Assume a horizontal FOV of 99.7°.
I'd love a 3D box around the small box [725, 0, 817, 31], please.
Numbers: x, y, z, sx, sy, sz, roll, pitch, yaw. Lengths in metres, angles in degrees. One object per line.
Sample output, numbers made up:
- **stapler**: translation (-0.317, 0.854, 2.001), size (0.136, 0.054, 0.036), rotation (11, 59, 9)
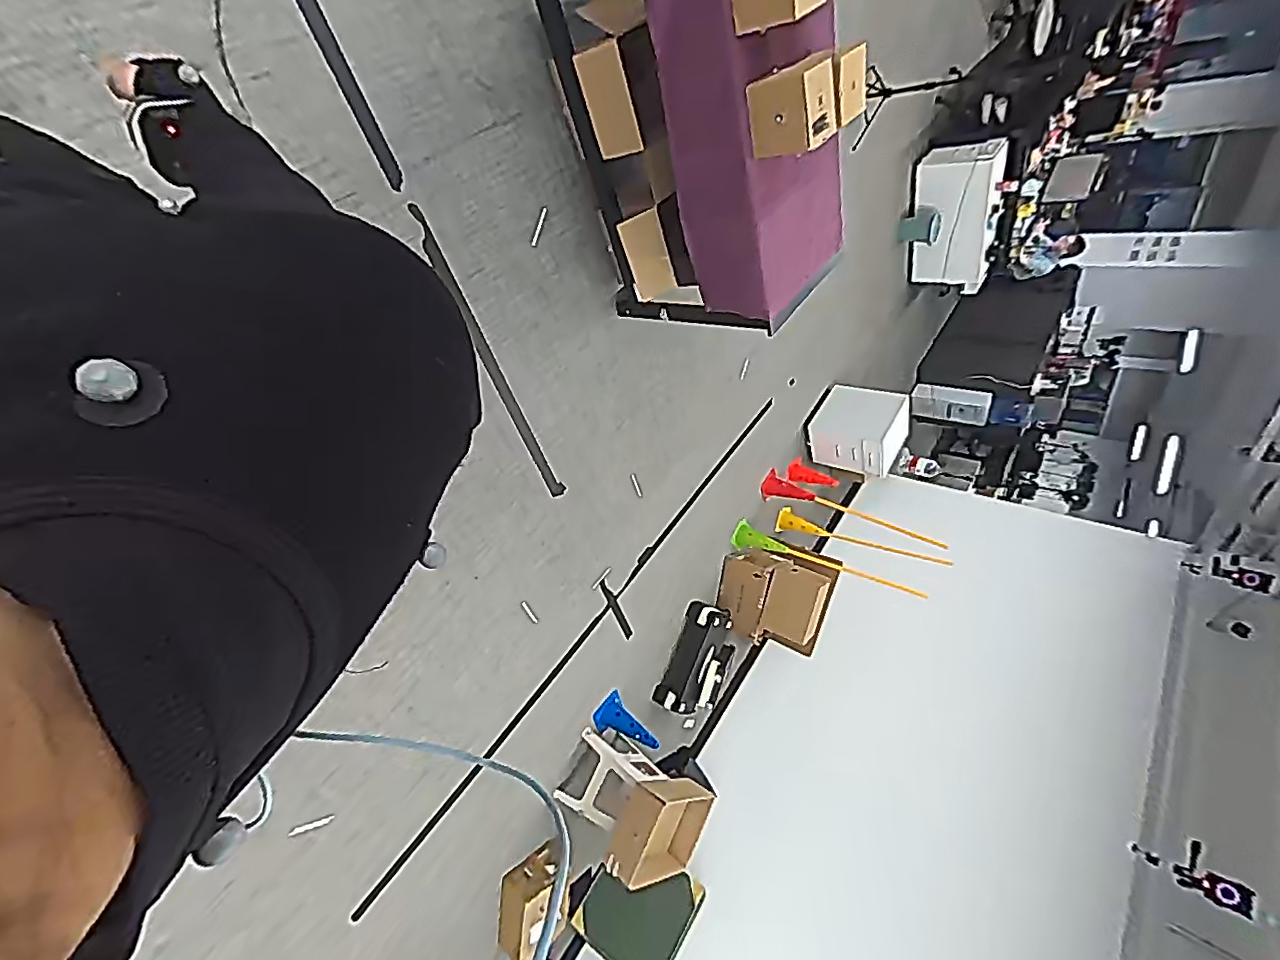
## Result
- **small box**: translation (0.306, -1.205, 1.277), size (0.168, 0.176, 0.179), rotation (-49, 138, -27)
